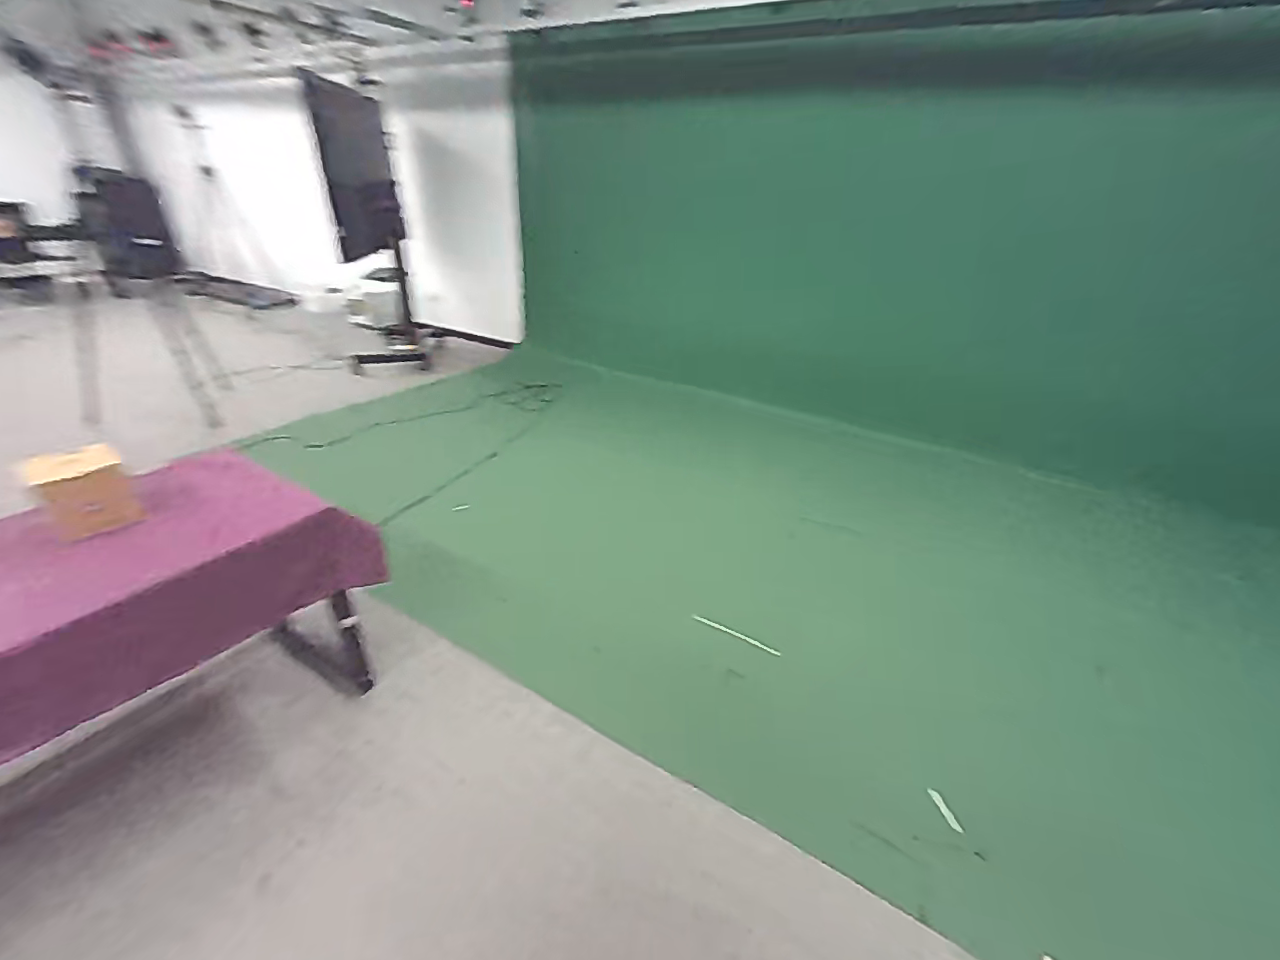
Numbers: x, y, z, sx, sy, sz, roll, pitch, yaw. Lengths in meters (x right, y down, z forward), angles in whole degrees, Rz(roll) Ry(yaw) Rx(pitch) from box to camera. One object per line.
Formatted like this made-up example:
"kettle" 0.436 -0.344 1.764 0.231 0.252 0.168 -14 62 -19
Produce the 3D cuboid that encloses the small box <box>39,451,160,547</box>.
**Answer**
"small box" -1.387 0.051 1.394 0.179 0.176 0.168 24 35 33
